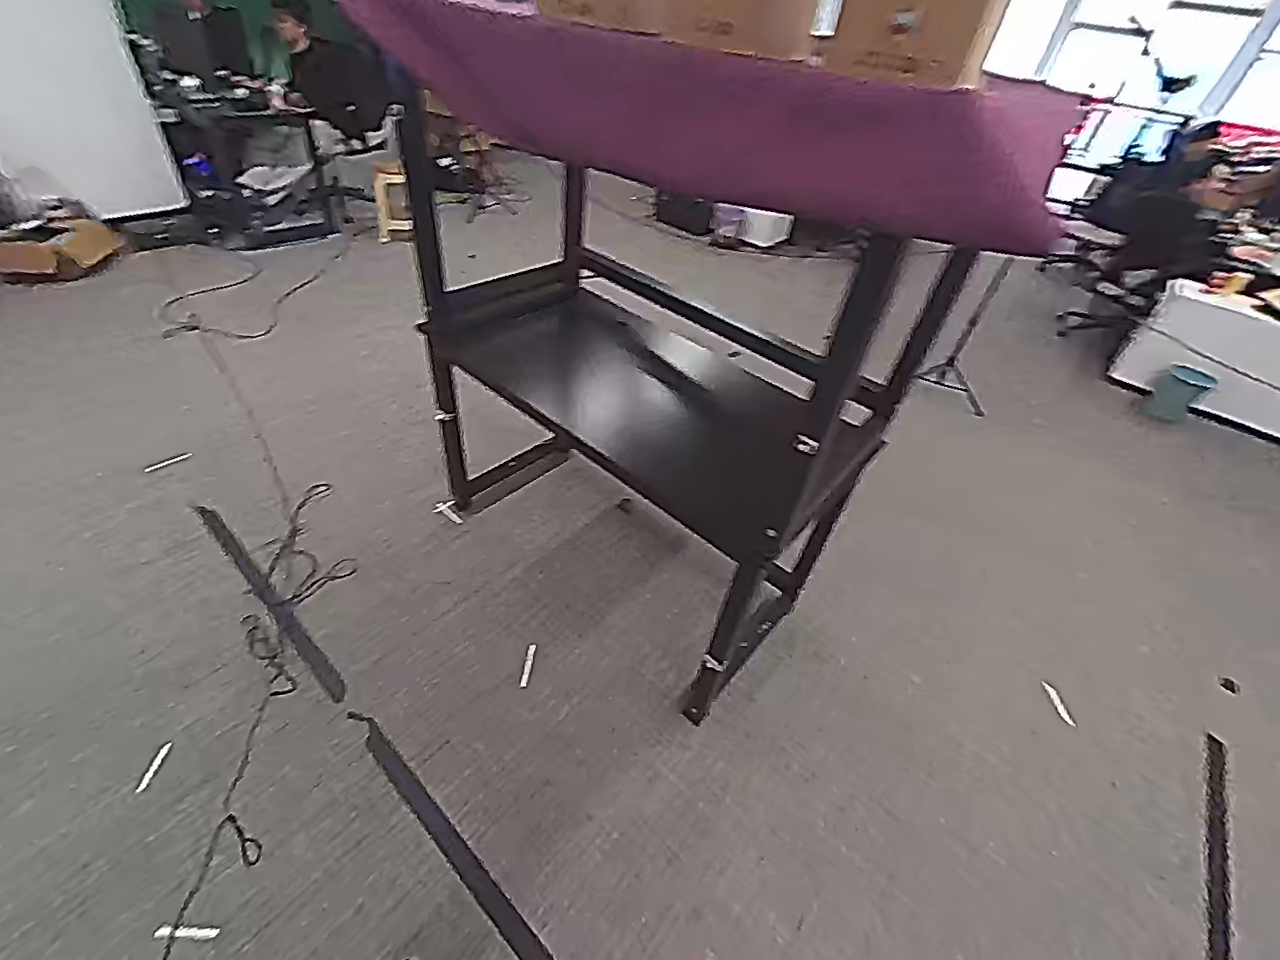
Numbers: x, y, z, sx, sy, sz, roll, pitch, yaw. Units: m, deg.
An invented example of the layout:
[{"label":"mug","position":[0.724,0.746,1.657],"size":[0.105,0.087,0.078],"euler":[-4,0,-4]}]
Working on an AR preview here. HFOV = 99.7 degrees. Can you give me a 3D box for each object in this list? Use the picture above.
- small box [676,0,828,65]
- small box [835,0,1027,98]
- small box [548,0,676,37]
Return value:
[{"label":"small box","position":[0.166,-0.702,0.763],"size":[0.168,0.176,0.179],"euler":[32,45,23]},{"label":"small box","position":[0.353,-0.565,0.635],"size":[0.168,0.176,0.179],"euler":[28,44,22]},{"label":"small box","position":[-0.041,-0.835,0.876],"size":[0.168,0.176,0.179],"euler":[26,44,19]}]
